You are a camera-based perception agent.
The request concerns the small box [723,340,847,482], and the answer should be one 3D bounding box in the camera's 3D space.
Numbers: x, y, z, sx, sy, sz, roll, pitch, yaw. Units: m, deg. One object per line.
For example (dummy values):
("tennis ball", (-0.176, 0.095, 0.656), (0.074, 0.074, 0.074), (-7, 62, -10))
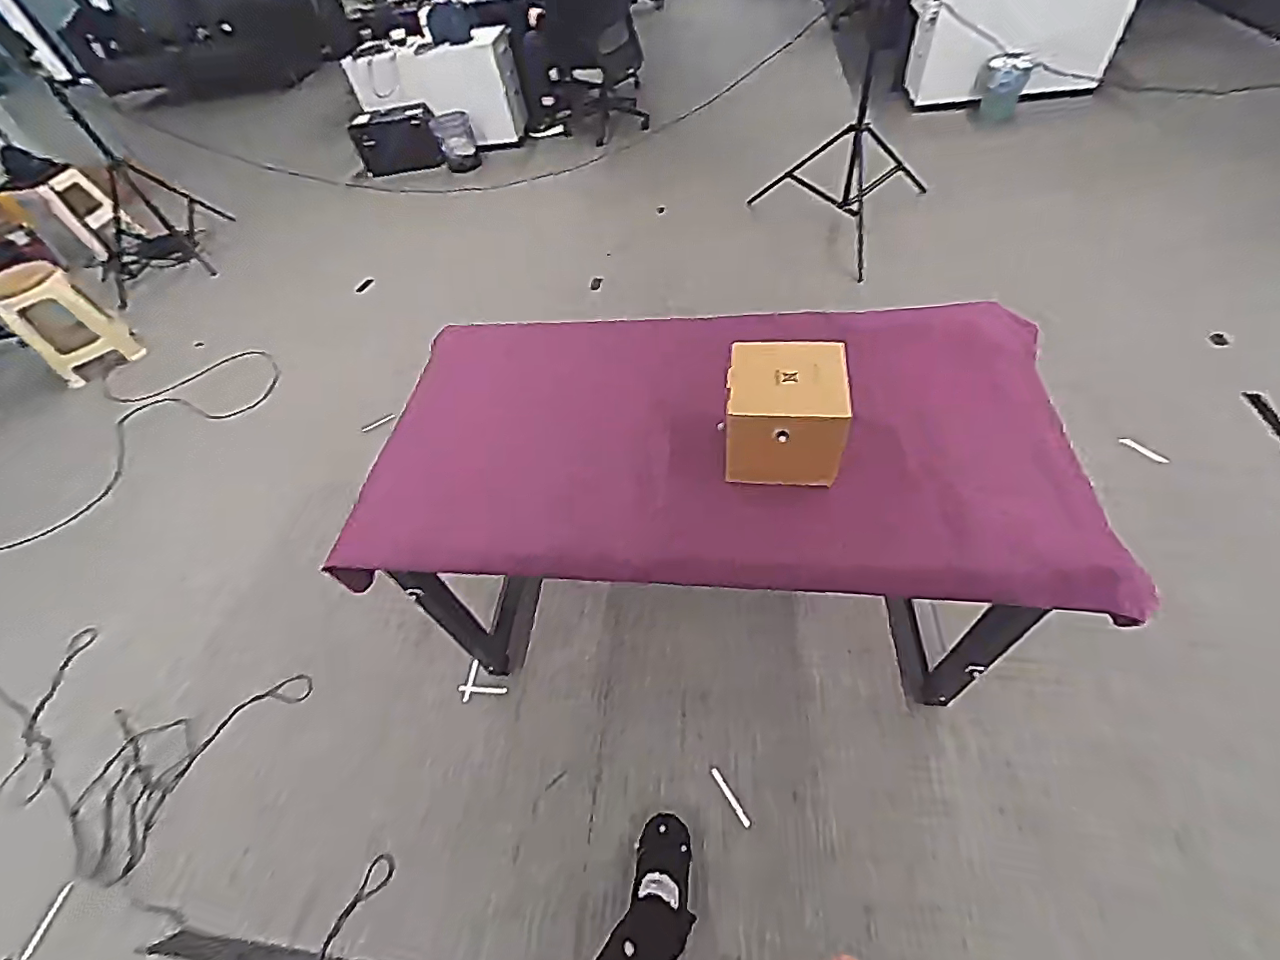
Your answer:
("small box", (0.229, -0.110, 0.886), (0.179, 0.176, 0.168), (2, 54, 10))
